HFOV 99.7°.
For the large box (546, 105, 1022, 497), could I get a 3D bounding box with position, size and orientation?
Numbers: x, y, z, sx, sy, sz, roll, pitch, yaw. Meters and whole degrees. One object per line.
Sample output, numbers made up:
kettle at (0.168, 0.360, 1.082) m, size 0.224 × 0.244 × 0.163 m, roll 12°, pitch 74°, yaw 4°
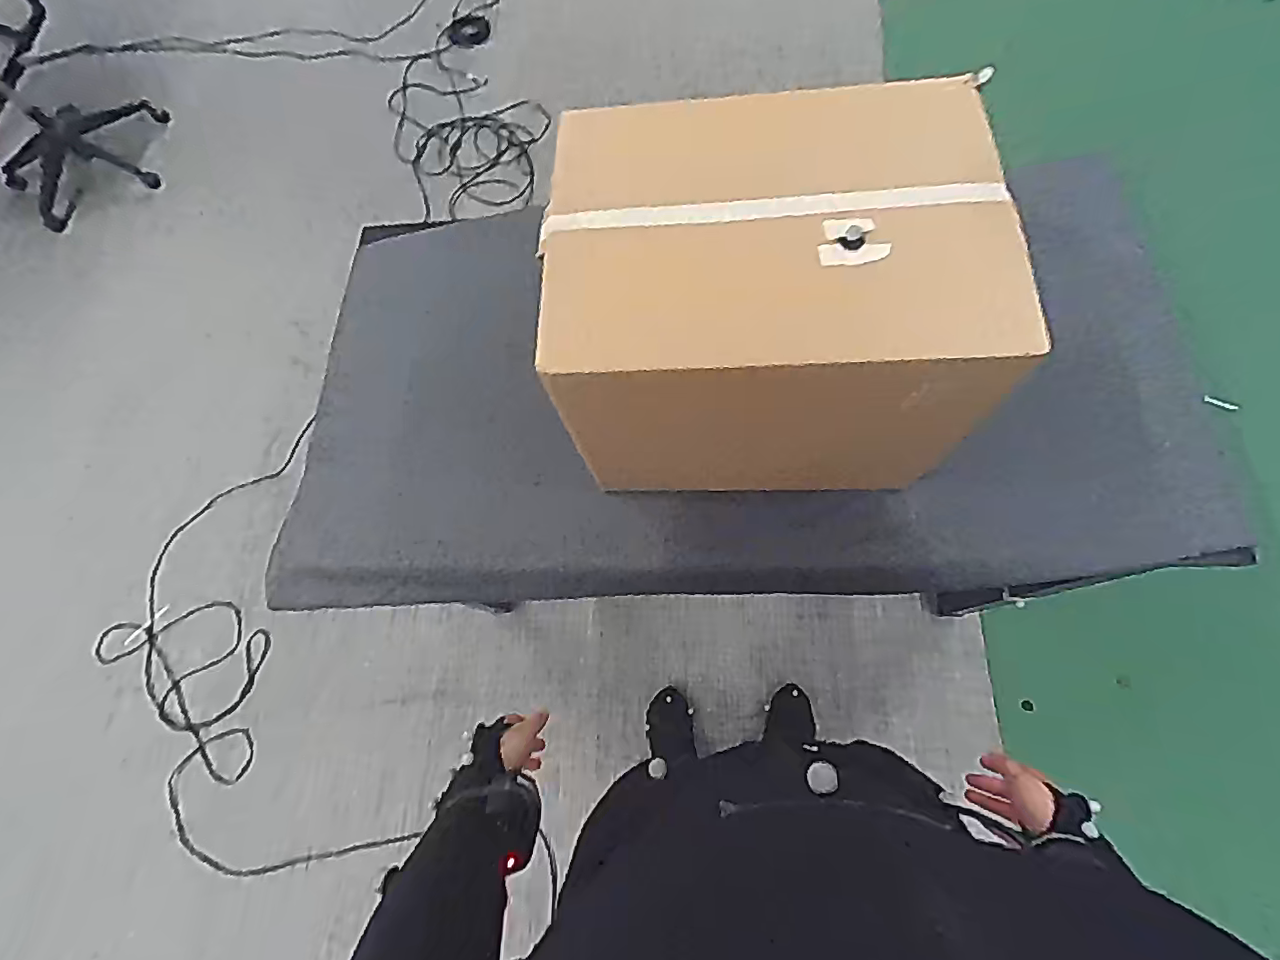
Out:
large box at (0.127, -0.175, 0.643) m, size 0.408 × 0.320 × 0.320 m, roll -1°, pitch 70°, yaw 5°
